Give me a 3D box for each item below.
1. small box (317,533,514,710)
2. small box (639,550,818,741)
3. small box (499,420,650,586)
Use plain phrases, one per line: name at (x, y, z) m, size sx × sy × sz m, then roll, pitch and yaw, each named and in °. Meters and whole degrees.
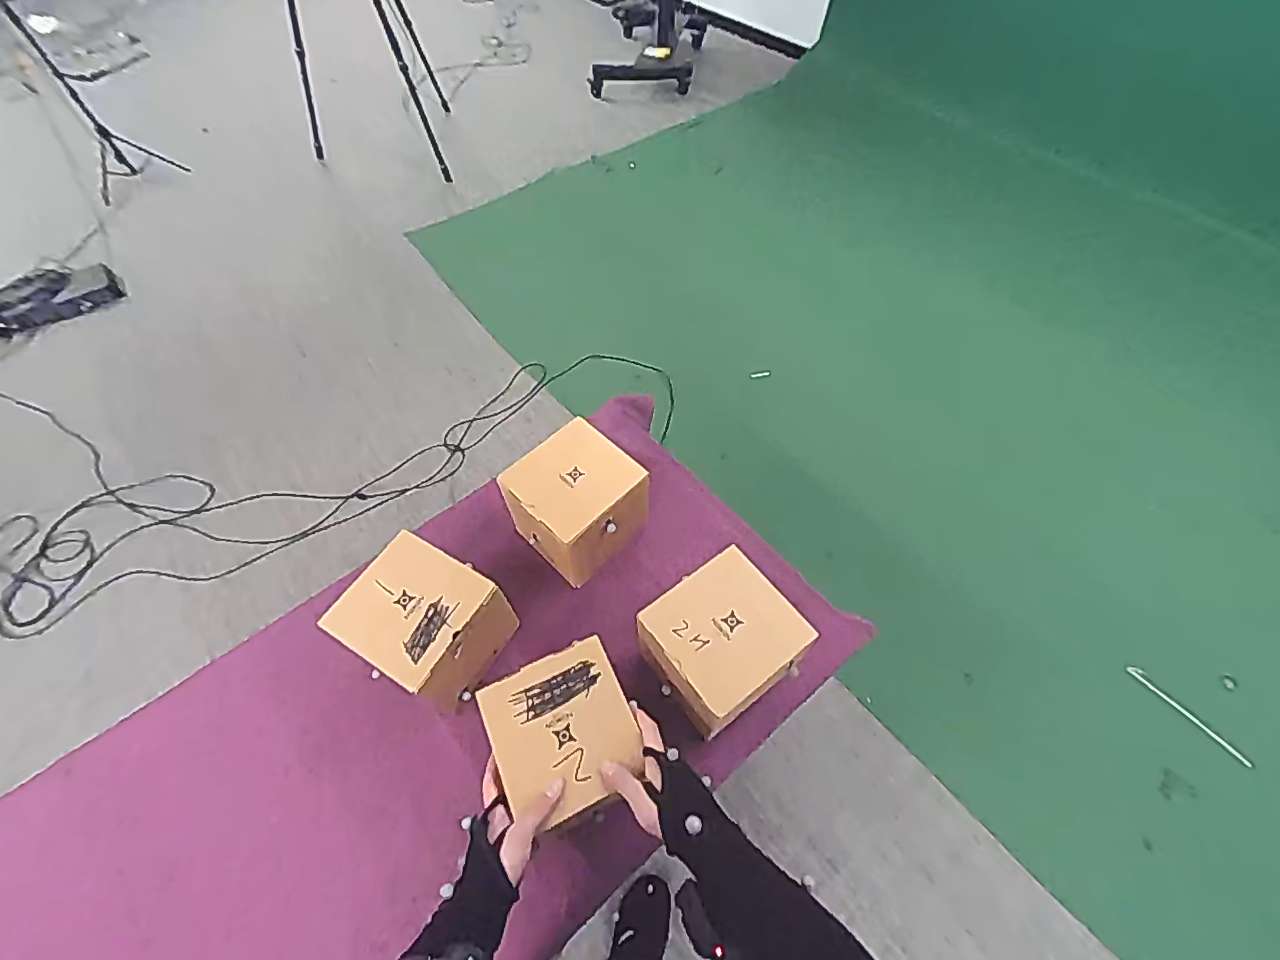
small box at (-0.309, 0.212, 0.786) m, size 0.179 × 0.176 × 0.168 m, roll 26°, pitch 61°, yaw 16°
small box at (0.113, 0.235, 0.762) m, size 0.179 × 0.176 × 0.168 m, roll -32°, pitch 61°, yaw -17°
small box at (-0.102, 0.041, 0.894) m, size 0.168 × 0.176 × 0.179 m, roll 40°, pitch 67°, yaw 22°
